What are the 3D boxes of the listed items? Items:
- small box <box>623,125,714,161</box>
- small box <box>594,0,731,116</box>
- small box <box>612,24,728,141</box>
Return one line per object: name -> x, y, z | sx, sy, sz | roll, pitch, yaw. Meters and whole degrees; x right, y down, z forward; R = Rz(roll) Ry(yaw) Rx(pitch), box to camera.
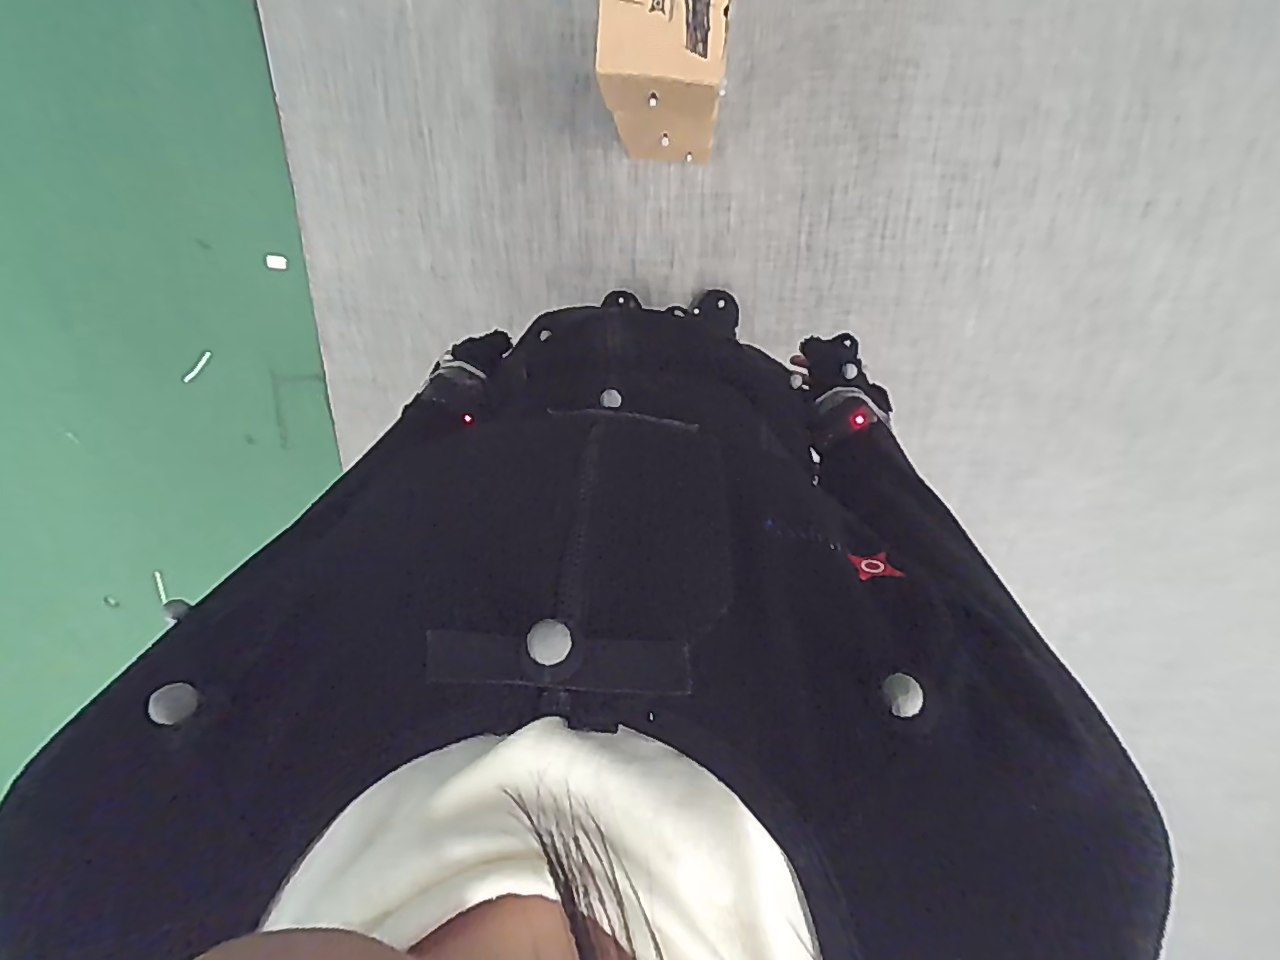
small box -> 0.063, -0.762, 1.102 | 0.179, 0.176, 0.168 | 4, 109, 3
small box -> 0.037, -0.656, 0.792 | 0.179, 0.176, 0.168 | 8, 110, 2
small box -> 0.050, -0.710, 0.947 | 0.179, 0.176, 0.168 | 6, 110, 1
